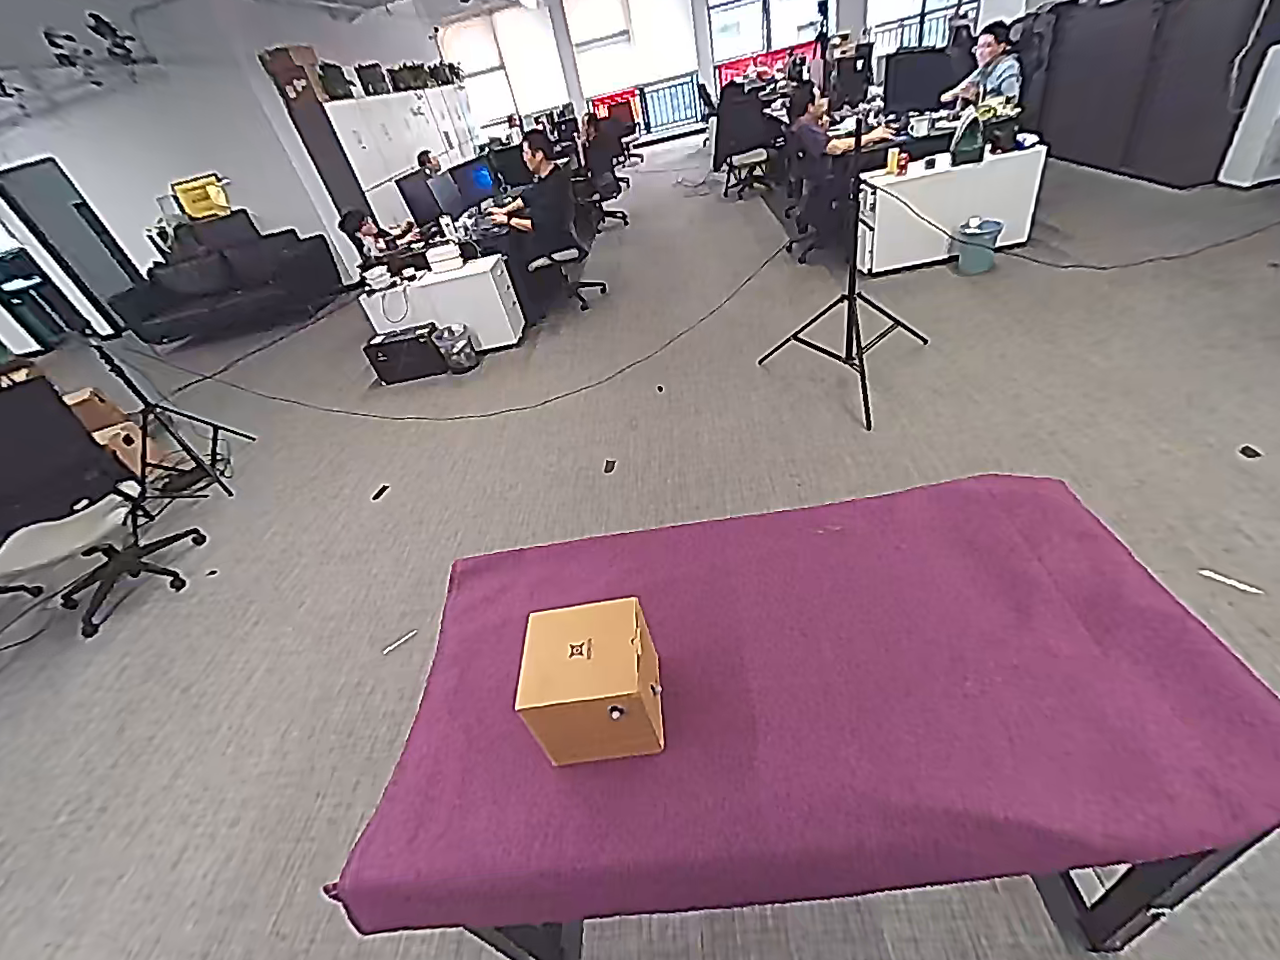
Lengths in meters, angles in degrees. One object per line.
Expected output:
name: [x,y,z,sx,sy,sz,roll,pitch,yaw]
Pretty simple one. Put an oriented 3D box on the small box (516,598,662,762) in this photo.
small box: [-0.070,0.310,0.831,0.179,0.176,0.168,-10,37,5]
